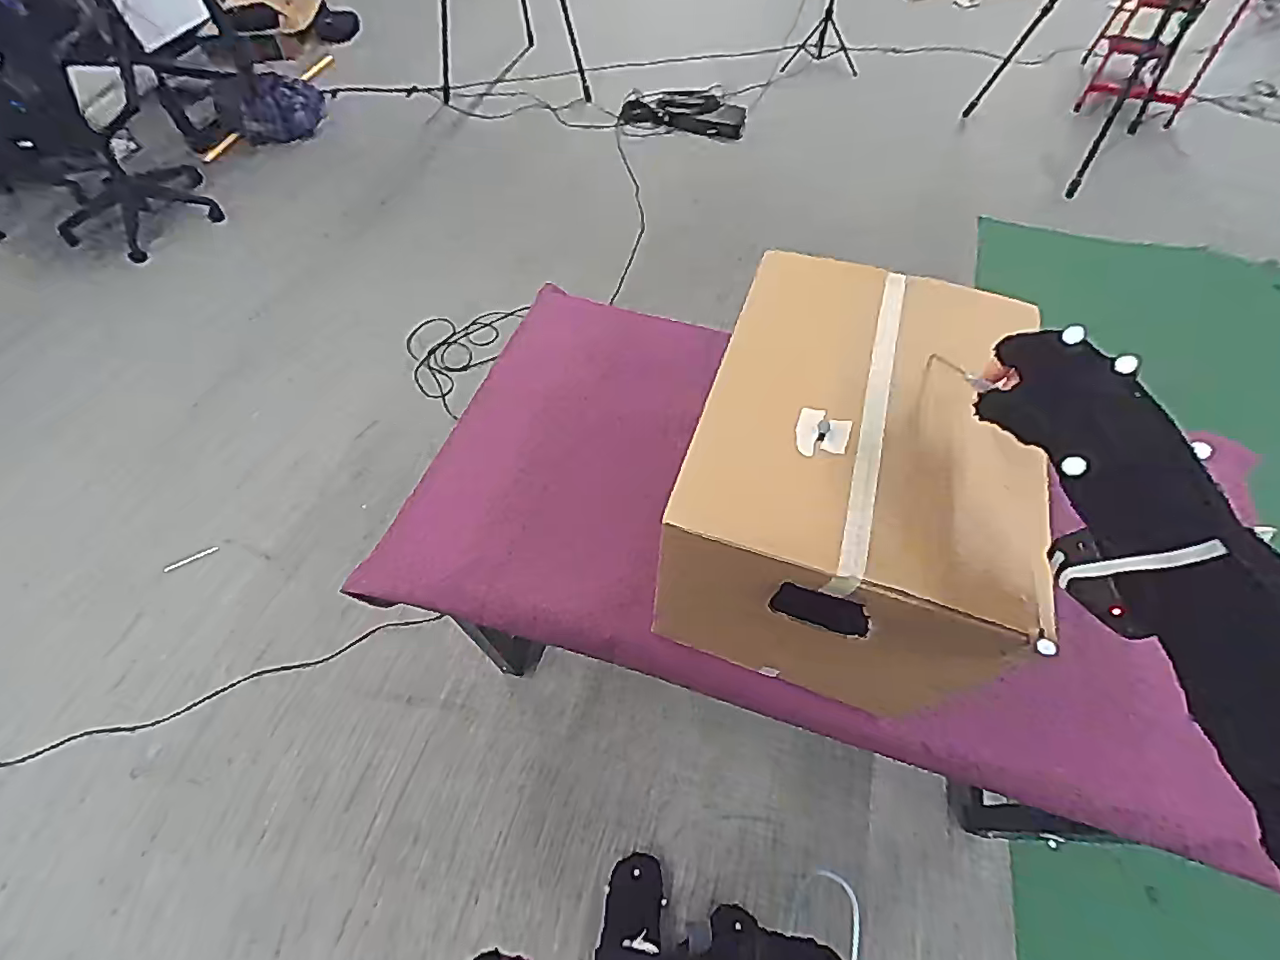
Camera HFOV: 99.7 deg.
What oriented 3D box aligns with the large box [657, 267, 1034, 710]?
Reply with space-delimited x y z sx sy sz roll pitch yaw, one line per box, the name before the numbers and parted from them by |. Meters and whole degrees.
large box | 0.230 0.012 0.677 0.320 0.320 0.408 17 59 11
